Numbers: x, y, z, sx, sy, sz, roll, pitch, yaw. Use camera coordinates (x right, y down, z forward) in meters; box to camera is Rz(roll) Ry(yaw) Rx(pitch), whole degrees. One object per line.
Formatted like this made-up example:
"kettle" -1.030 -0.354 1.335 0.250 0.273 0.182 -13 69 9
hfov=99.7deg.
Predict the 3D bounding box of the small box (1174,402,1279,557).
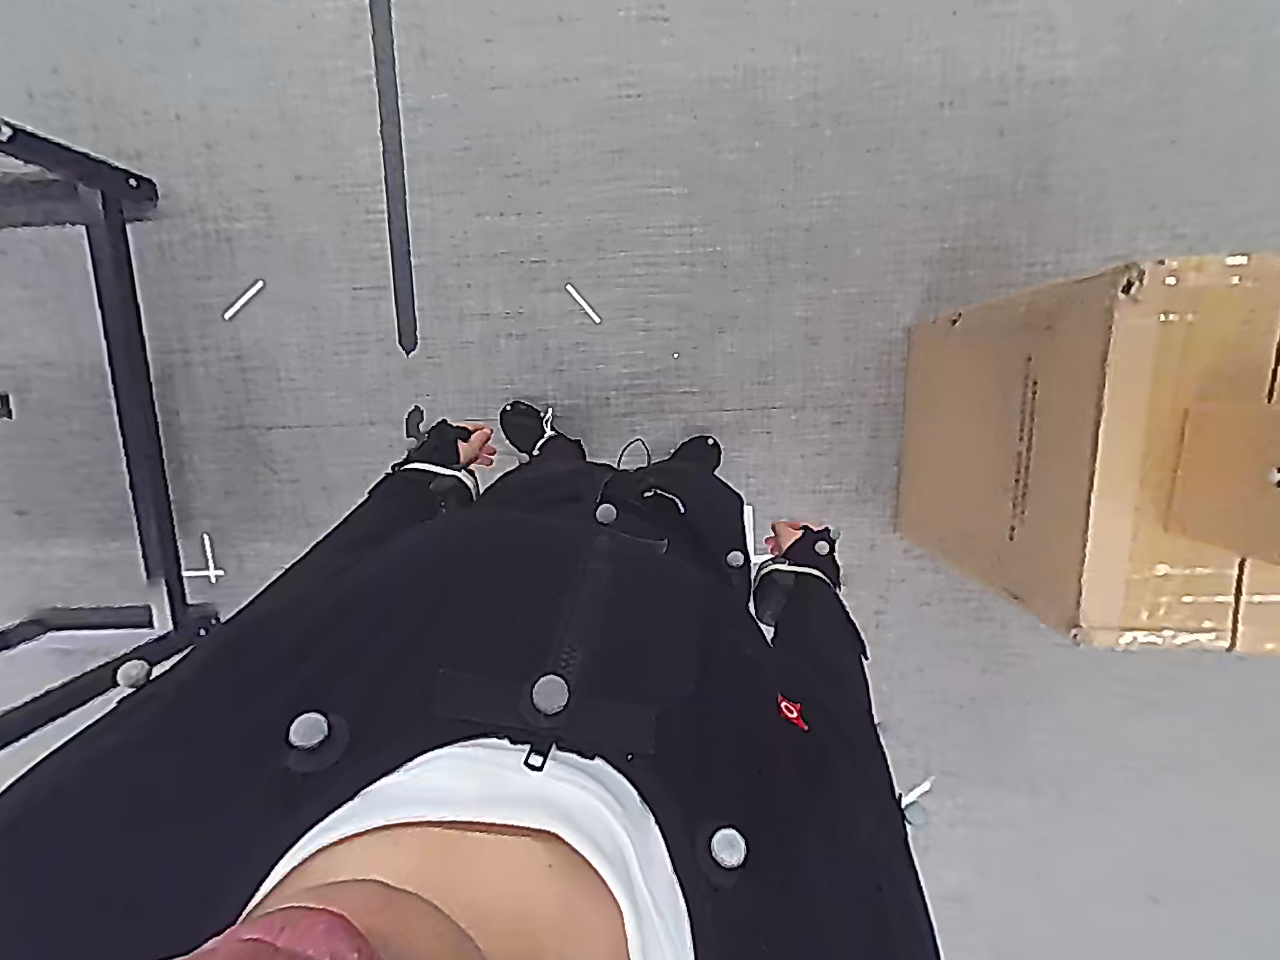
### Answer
"small box" 0.789 -0.001 0.630 0.168 0.176 0.179 1 100 3
